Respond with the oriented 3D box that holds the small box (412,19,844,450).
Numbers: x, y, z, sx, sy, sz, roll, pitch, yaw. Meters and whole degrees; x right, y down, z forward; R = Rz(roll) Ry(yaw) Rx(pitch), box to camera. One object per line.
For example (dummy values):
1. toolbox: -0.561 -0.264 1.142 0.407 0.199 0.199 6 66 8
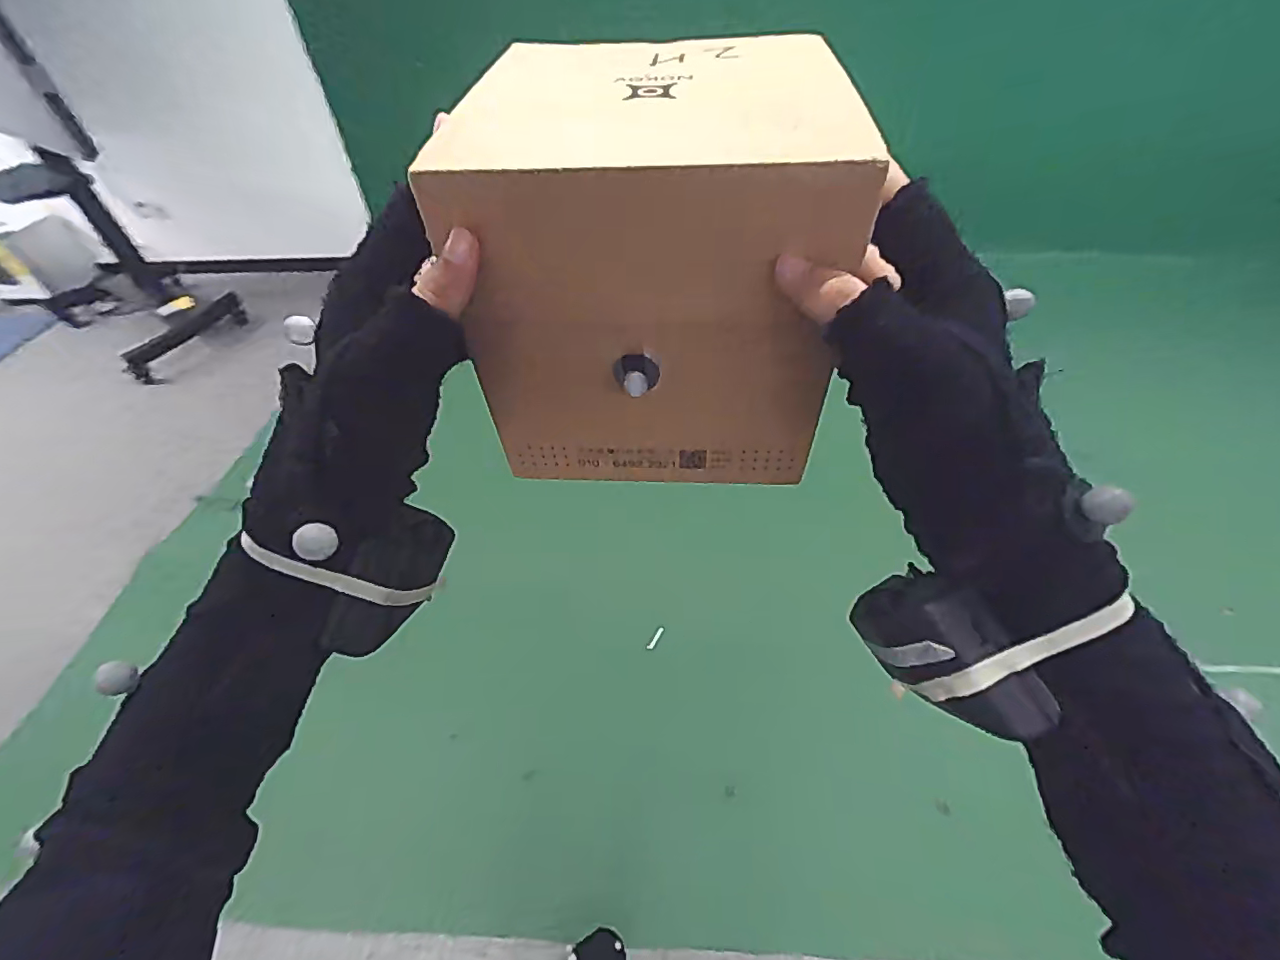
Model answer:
1. small box: 0.005 -0.133 0.311 0.168 0.176 0.179 2 51 5
